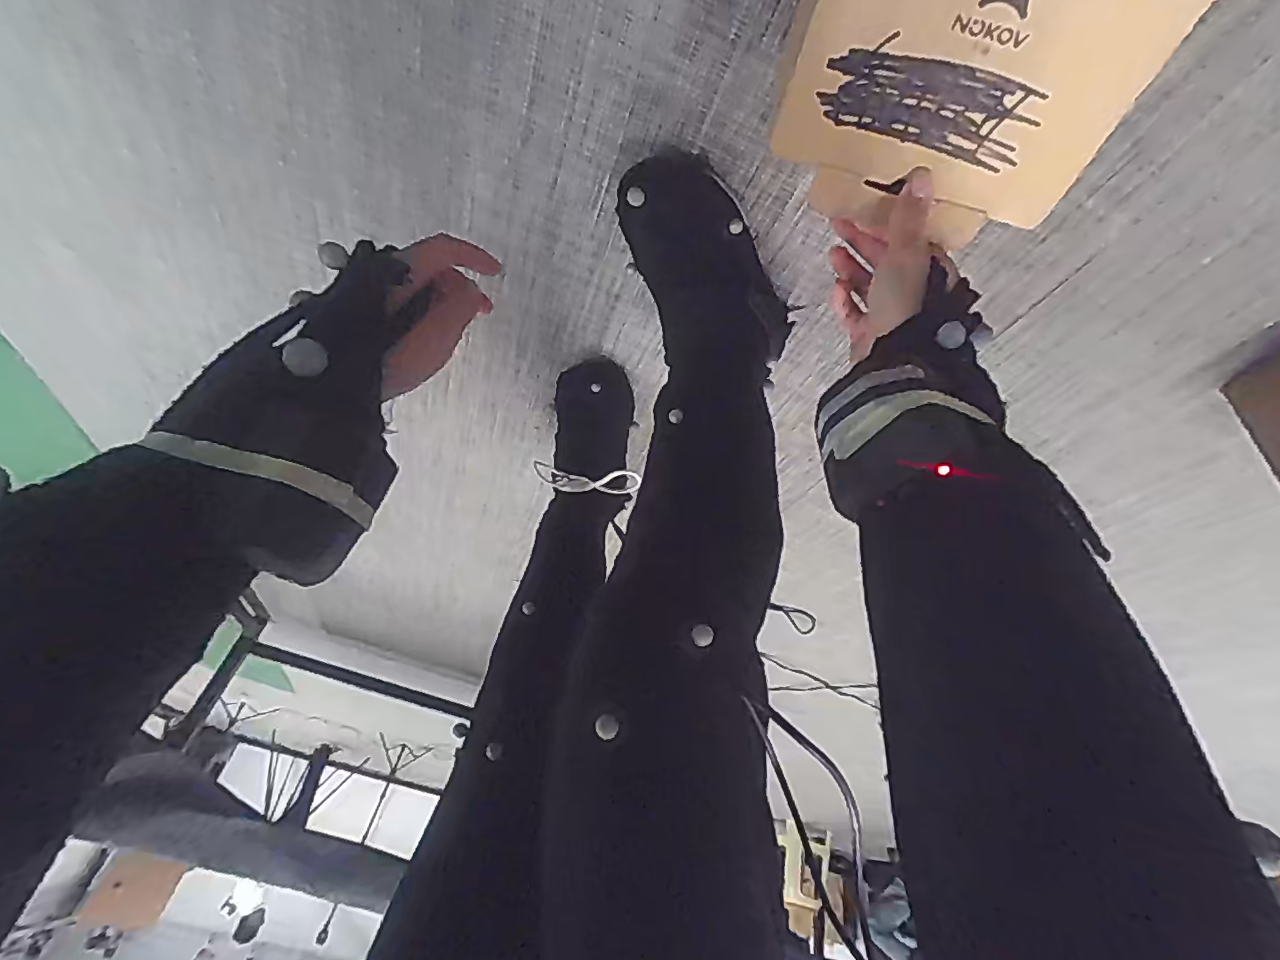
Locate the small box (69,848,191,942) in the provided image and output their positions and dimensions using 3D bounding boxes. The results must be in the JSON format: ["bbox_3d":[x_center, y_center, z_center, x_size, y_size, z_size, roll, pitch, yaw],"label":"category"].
[{"bbox_3d":[-1.378,1.126,1.476,0.179,0.176,0.168,30,142,-21],"label":"small box"}]
